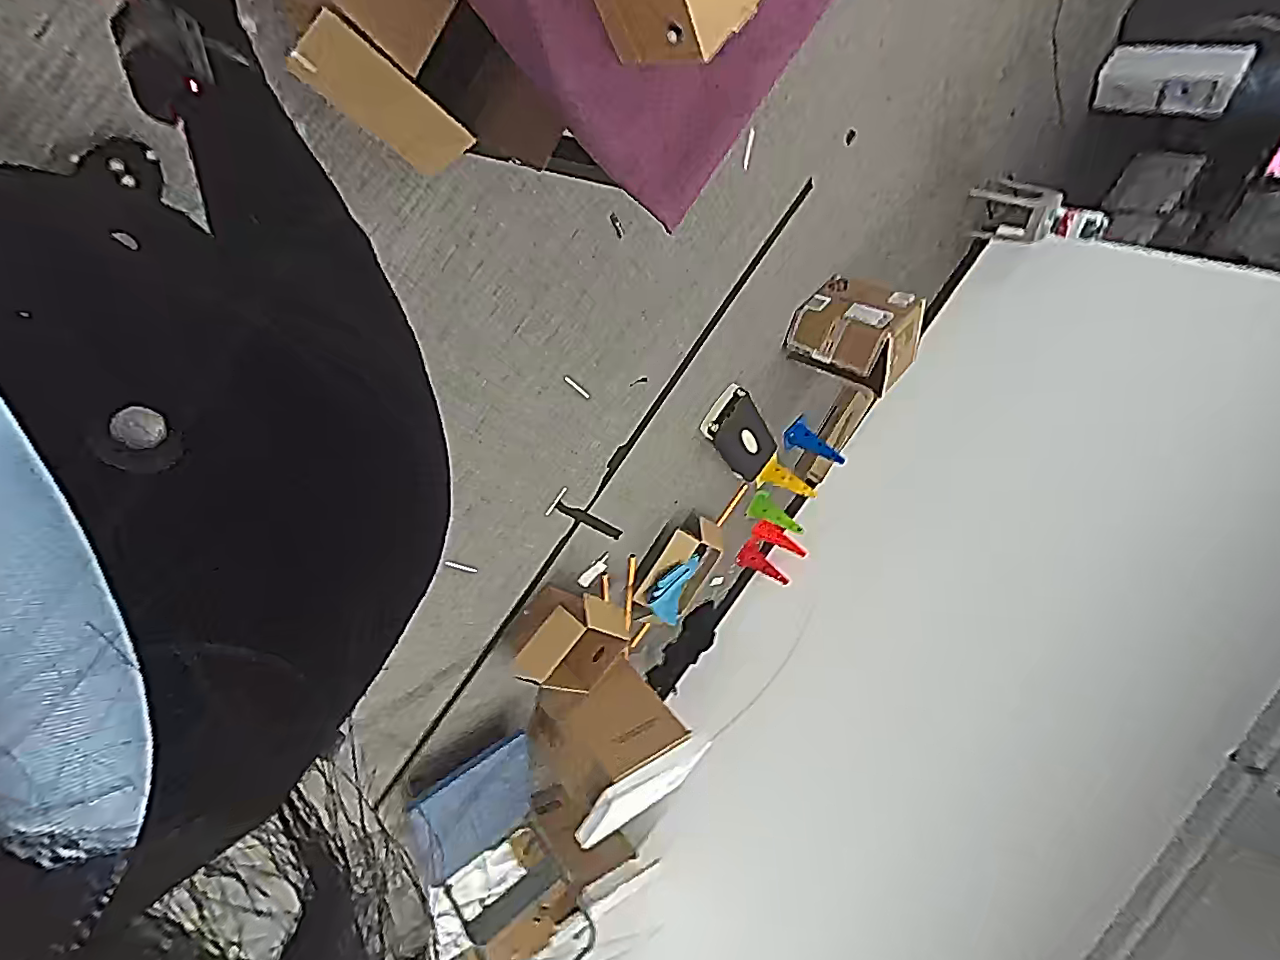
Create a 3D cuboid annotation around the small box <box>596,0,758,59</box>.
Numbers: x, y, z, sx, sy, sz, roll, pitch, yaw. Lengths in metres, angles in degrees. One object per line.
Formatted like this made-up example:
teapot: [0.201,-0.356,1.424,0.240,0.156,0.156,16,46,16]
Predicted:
small box: [0.040,-0.646,0.644,0.168,0.176,0.179,-52,145,-4]
